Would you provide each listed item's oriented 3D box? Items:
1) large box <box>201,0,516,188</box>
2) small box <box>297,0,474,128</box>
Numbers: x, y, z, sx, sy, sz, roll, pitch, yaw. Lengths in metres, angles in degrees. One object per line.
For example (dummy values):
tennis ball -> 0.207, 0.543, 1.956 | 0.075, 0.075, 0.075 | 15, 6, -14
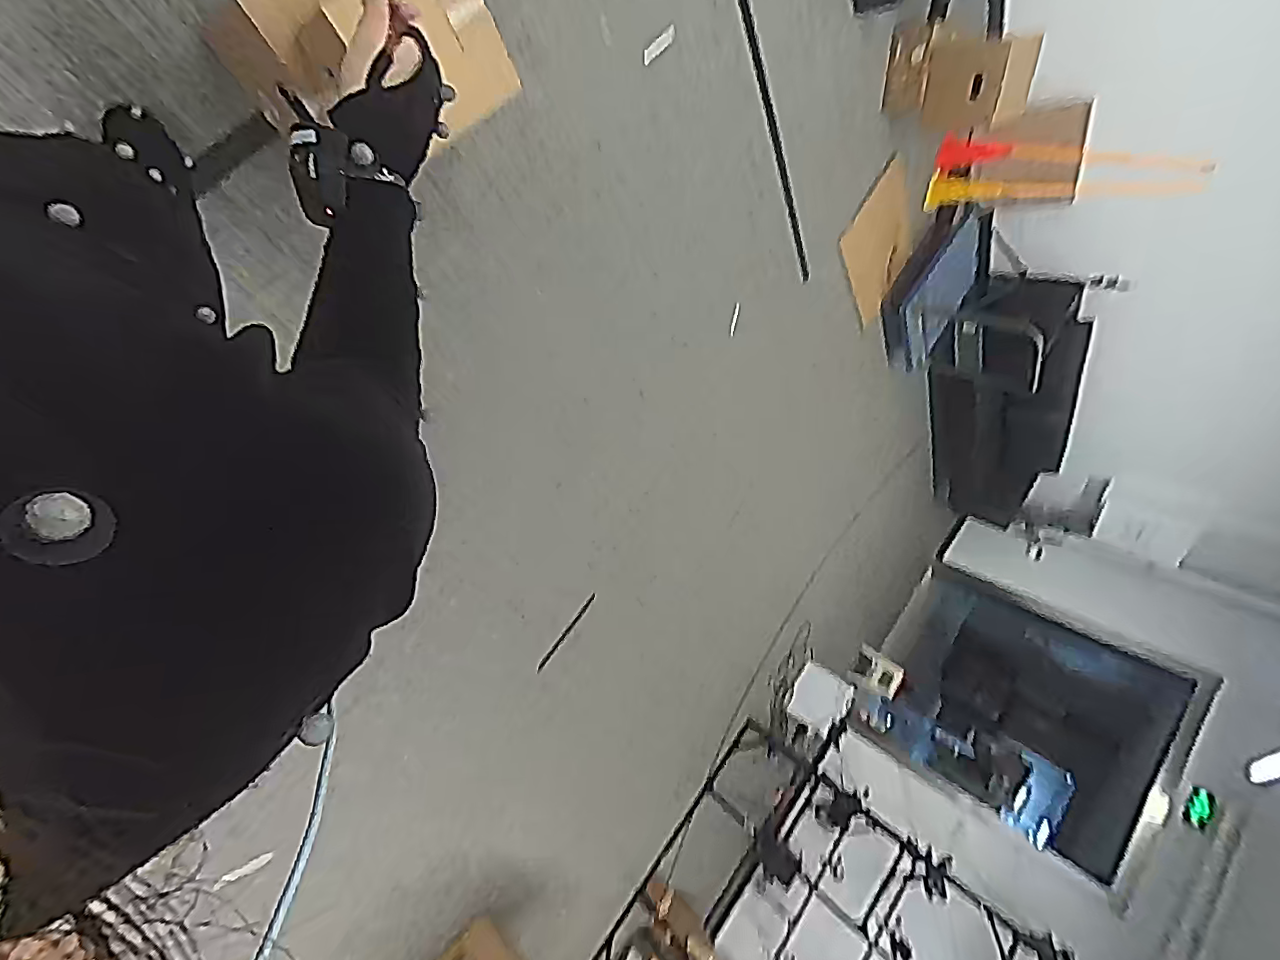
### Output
large box -> -0.537, -0.834, 1.061 | 0.408, 0.320, 0.320 | -50, 139, -17
small box -> -0.414, -0.707, 0.879 | 0.179, 0.176, 0.168 | -49, 136, -16
